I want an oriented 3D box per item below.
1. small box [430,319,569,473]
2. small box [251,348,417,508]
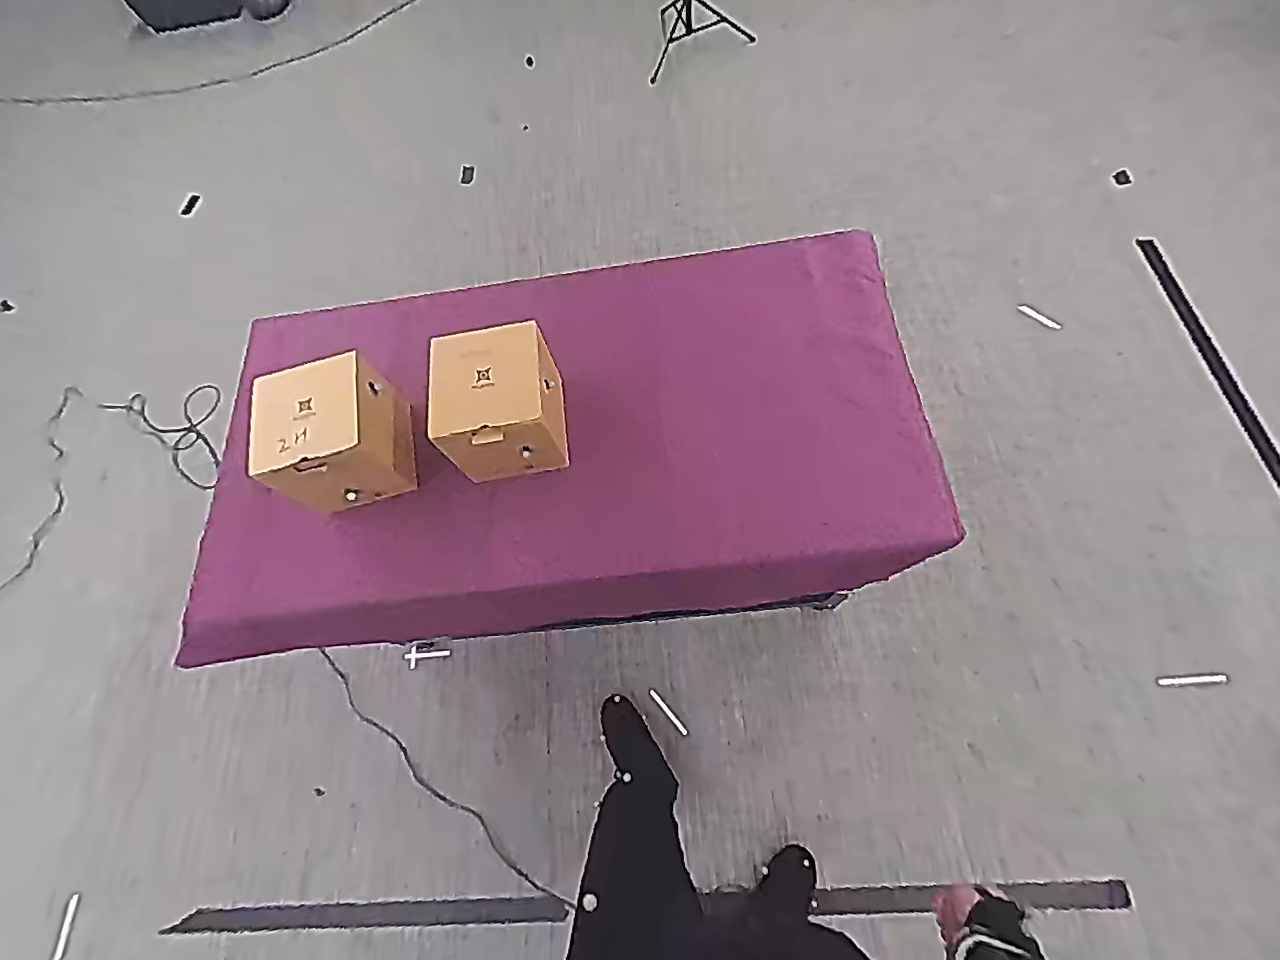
[{"bbox_3d":[-0.213,-0.121,0.854,0.168,0.176,0.179,-8,67,3],"label":"small box"},{"bbox_3d":[-0.479,-0.076,0.867,0.168,0.176,0.179,-15,67,1],"label":"small box"}]
